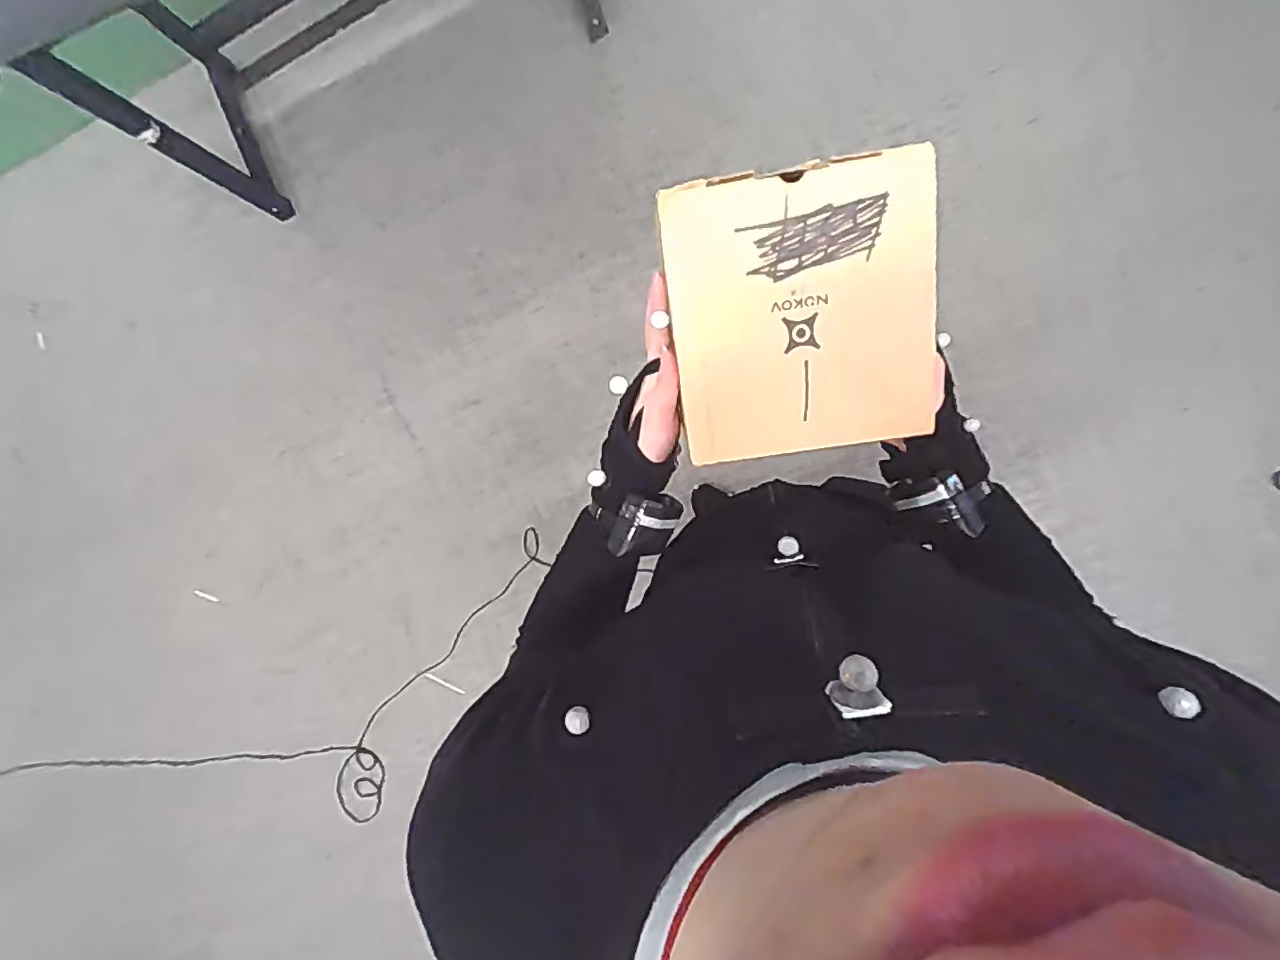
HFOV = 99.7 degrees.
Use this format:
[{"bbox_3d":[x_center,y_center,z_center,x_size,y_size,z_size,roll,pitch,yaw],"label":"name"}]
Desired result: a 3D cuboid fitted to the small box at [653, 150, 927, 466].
[{"bbox_3d":[0.101,-0.125,0.421,0.168,0.176,0.179,-8,107,5],"label":"small box"}]
